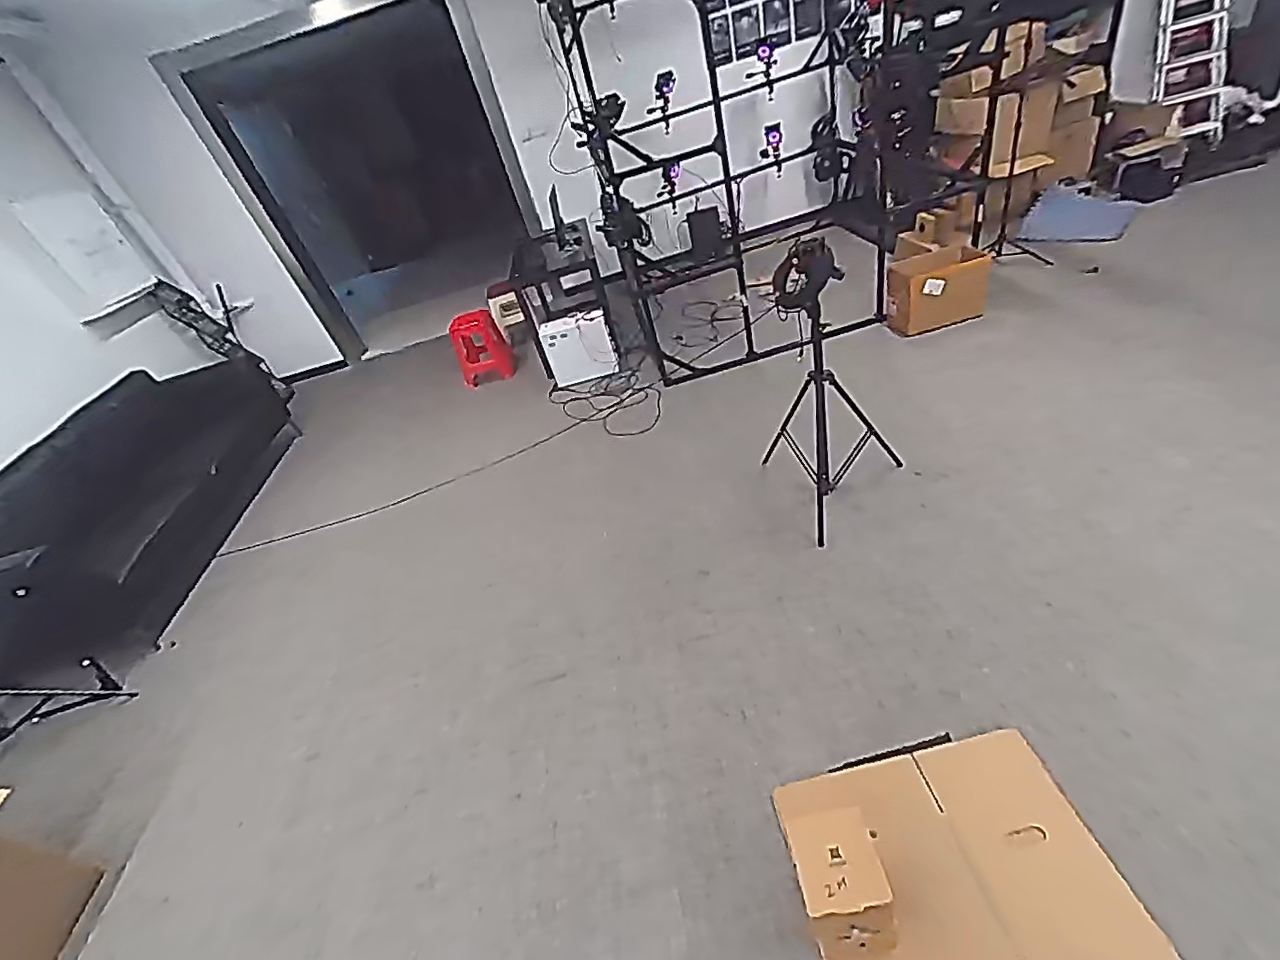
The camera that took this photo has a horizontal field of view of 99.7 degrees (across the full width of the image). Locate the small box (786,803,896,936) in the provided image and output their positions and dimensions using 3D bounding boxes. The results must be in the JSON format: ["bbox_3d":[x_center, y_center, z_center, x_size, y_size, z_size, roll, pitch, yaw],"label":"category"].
[{"bbox_3d":[0.416,0.818,1.135,0.168,0.176,0.179,-15,38,6],"label":"small box"}]

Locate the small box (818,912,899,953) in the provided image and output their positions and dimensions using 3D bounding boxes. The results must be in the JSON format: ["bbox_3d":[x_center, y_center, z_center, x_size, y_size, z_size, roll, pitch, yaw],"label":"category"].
[{"bbox_3d":[0.470,0.944,1.229,0.168,0.176,0.179,-15,38,5],"label":"small box"}]
